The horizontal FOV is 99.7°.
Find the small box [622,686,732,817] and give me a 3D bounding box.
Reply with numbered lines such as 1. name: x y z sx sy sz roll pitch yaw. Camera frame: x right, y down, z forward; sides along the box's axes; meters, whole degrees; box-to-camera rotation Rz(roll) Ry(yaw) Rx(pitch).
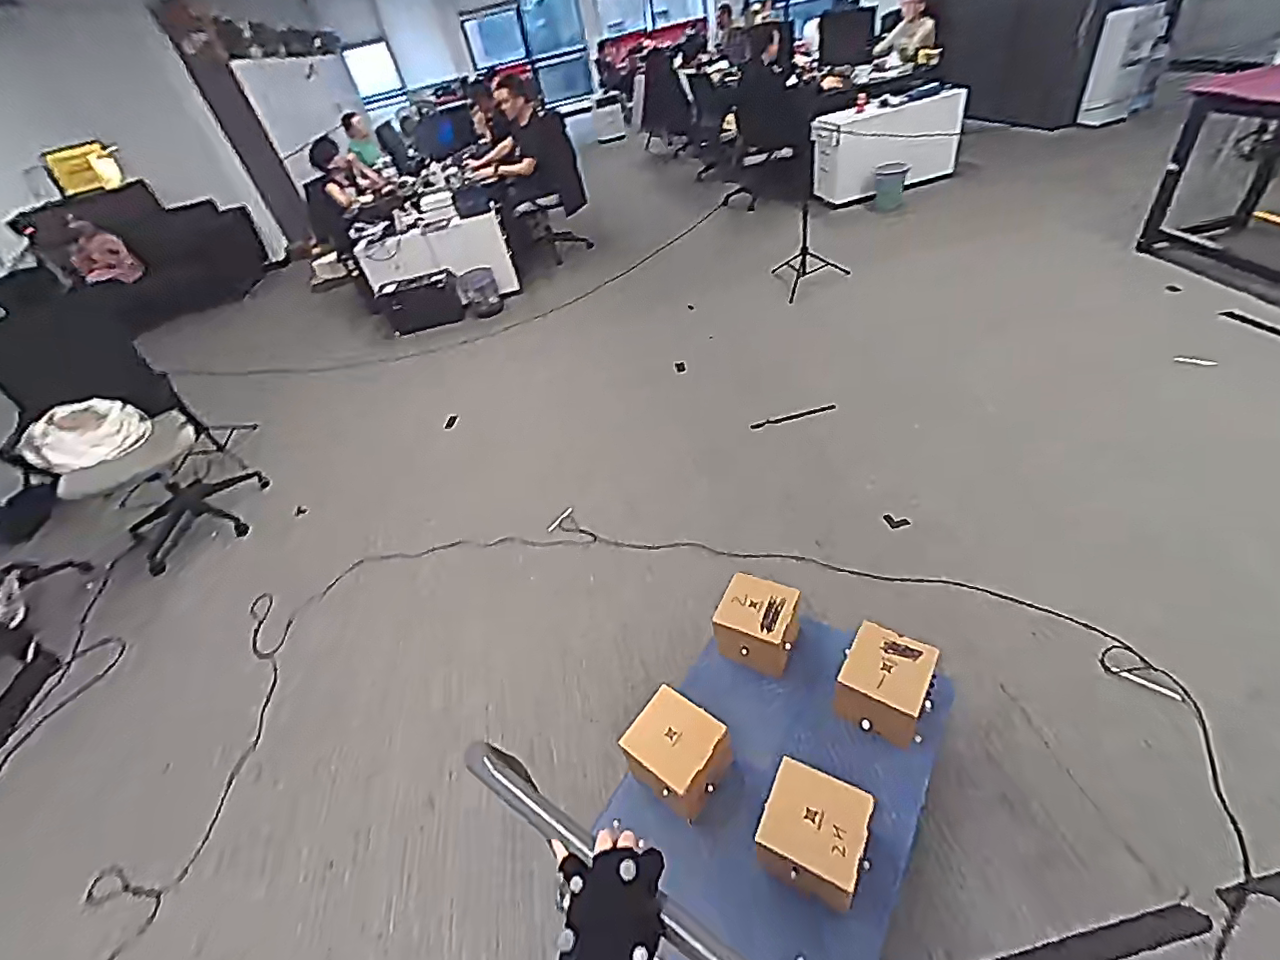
1. small box: 0.088 0.604 1.199 0.179 0.176 0.168 23 52 34

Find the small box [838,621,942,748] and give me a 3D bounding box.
1. small box: 0.559 0.462 1.224 0.168 0.176 0.179 19 51 33

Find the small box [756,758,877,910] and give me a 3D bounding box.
1. small box: 0.338 0.680 1.038 0.179 0.176 0.168 14 48 29
